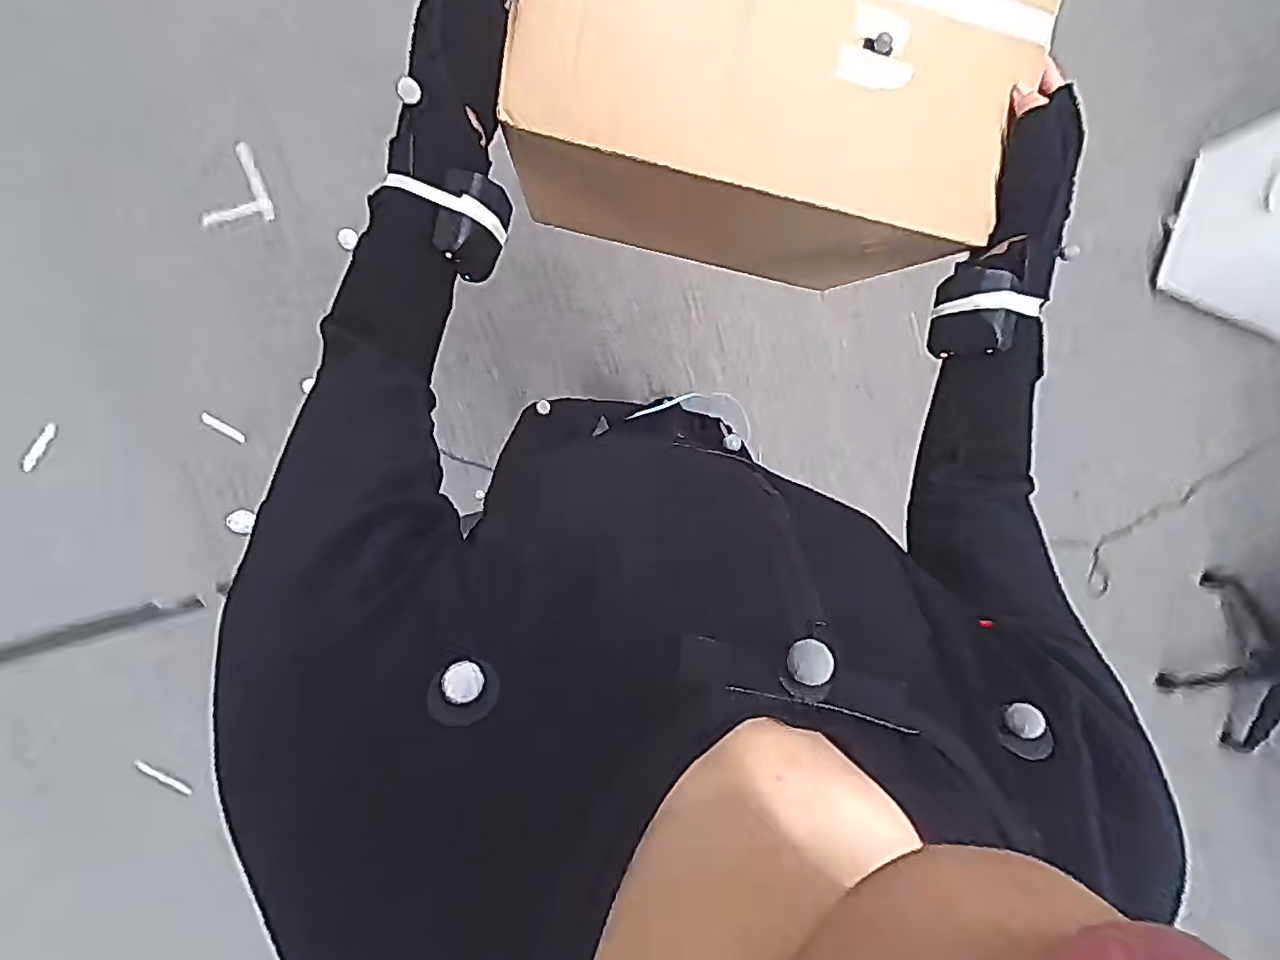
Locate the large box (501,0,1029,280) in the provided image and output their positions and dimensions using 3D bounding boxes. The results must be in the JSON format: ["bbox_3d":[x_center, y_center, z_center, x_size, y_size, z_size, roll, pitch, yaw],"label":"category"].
[{"bbox_3d":[0.091,-0.417,0.551,0.408,0.320,0.320,8,102,-9],"label":"large box"}]
